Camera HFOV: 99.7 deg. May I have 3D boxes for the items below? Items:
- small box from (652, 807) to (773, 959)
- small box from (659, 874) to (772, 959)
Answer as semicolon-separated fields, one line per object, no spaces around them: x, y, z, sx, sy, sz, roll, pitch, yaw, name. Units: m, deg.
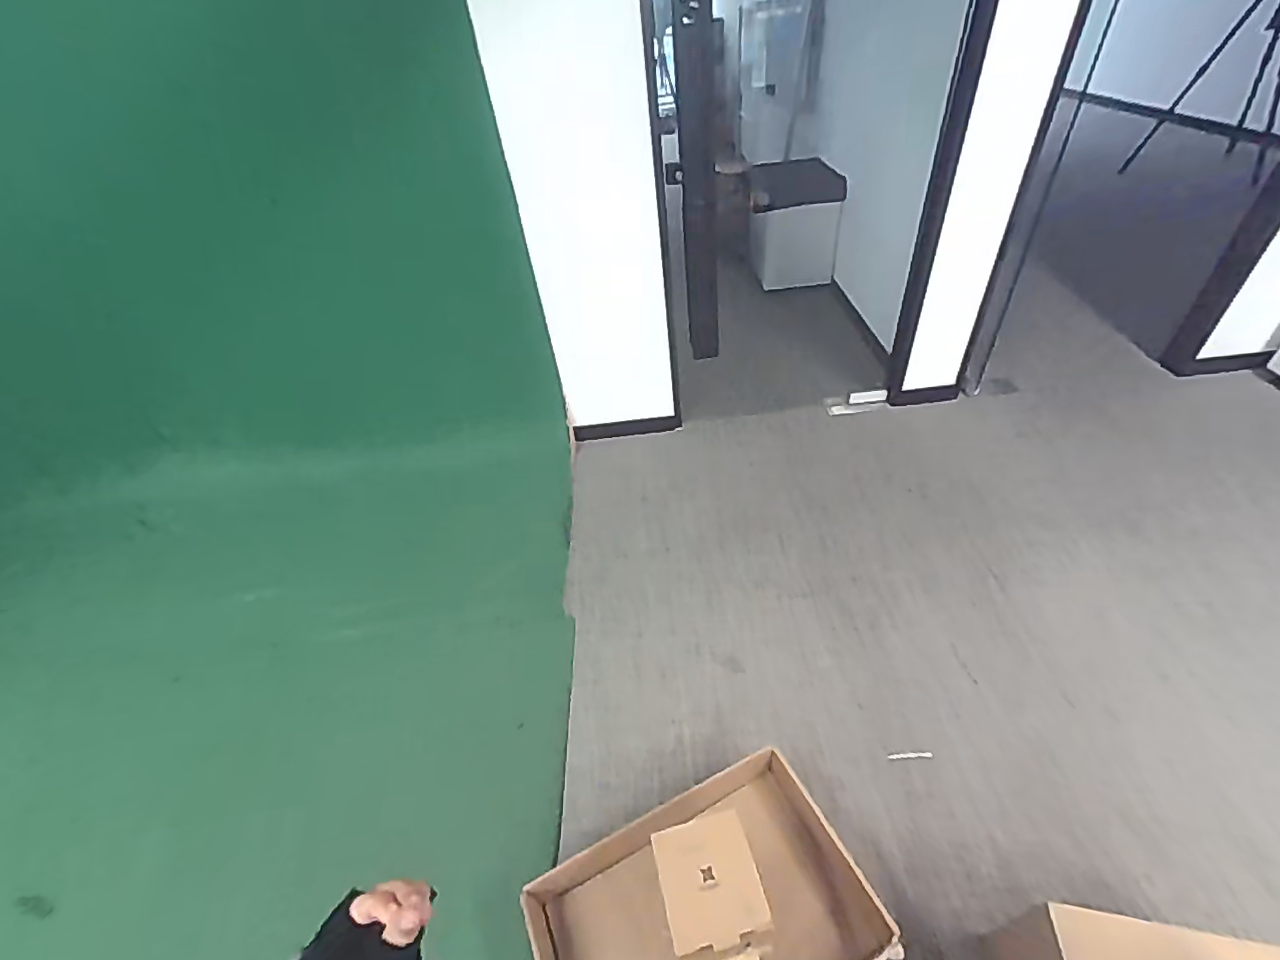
0.128;0.727;0.966;0.168;0.176;0.179;-14;40;-6;small box
0.149;0.856;1.063;0.168;0.176;0.179;-18;41;-8;small box
